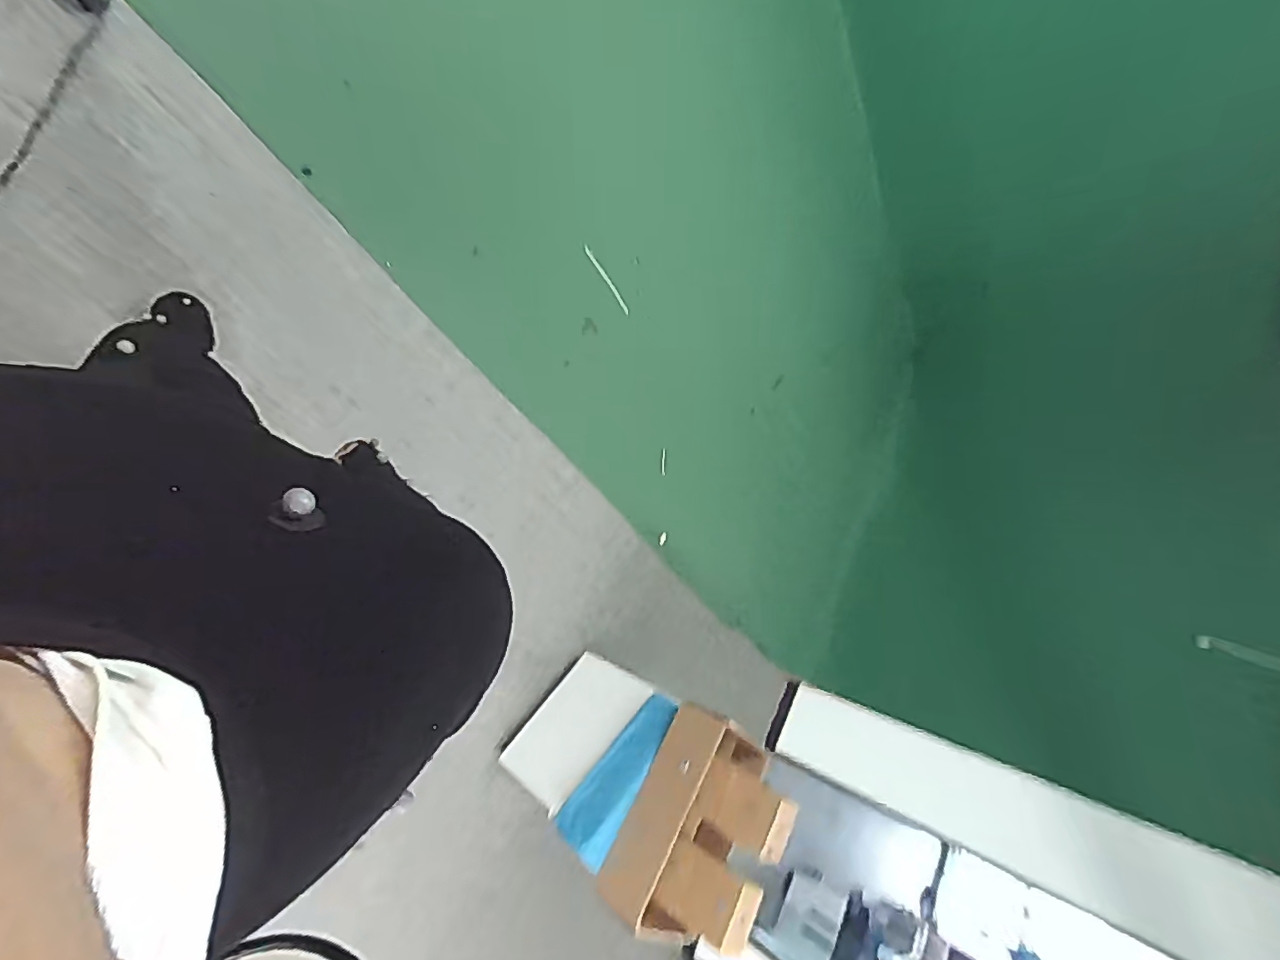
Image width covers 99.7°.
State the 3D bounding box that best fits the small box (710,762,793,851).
[{"bbox_3d":[0.345,1.010,1.681,0.168,0.176,0.179,45,67,-42],"label":"small box"}]

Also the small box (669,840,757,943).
[{"bbox_3d":[0.212,1.196,1.580,0.179,0.176,0.168,-58,134,-22],"label":"small box"}]
